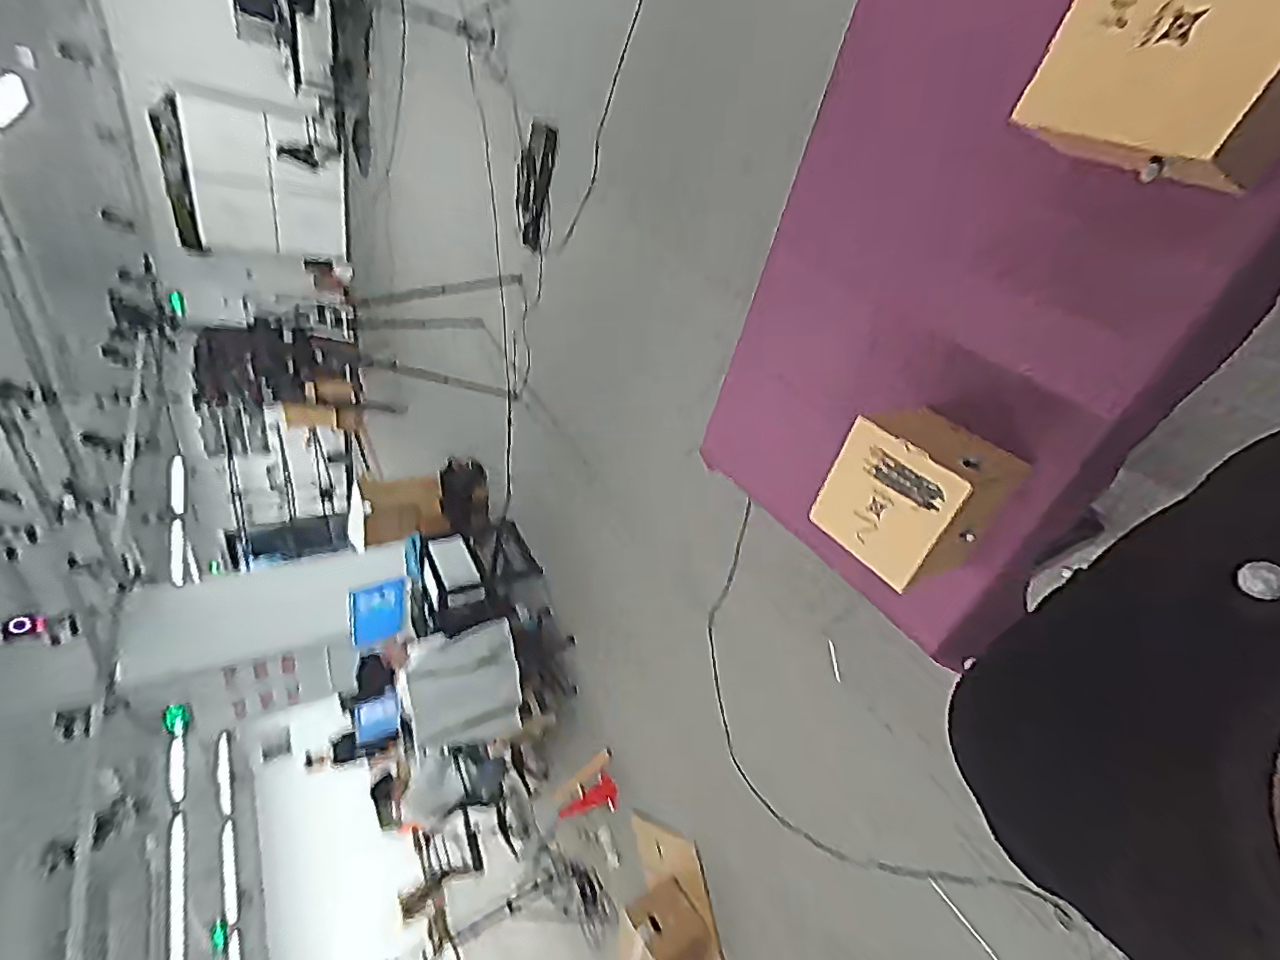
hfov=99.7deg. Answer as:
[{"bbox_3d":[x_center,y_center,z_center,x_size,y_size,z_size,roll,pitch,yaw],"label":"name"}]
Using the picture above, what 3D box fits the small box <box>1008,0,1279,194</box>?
[{"bbox_3d":[0.501,-0.379,0.494,0.179,0.176,0.168,50,134,38],"label":"small box"}]
